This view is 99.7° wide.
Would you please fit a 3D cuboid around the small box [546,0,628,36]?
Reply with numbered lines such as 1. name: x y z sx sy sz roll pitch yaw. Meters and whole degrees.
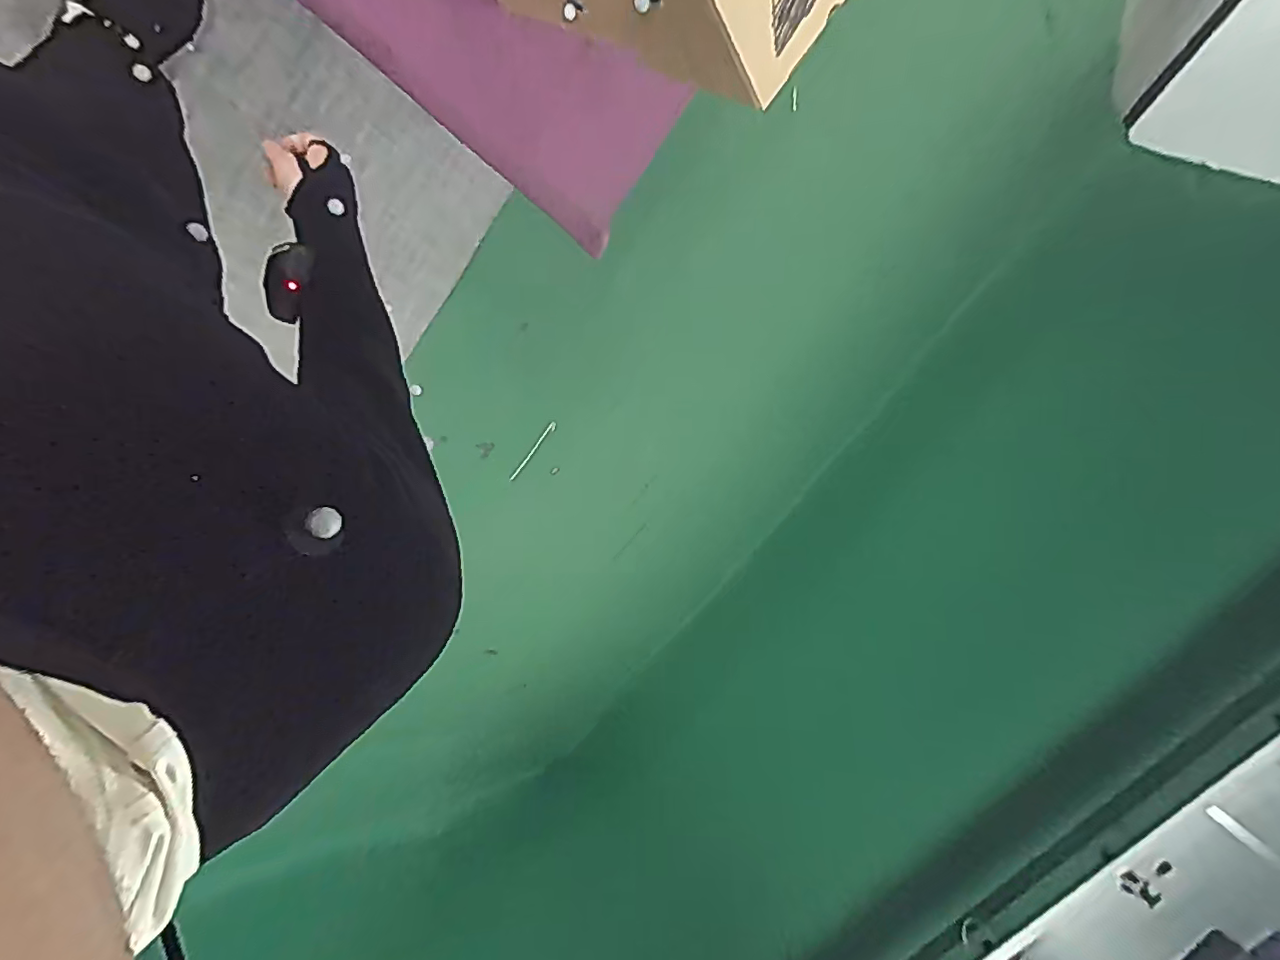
1. small box: -0.038 -0.536 0.466 0.179 0.176 0.168 -52 145 14

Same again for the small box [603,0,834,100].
1. small box: 0.052 -0.427 0.384 0.168 0.176 0.179 -50 144 12
